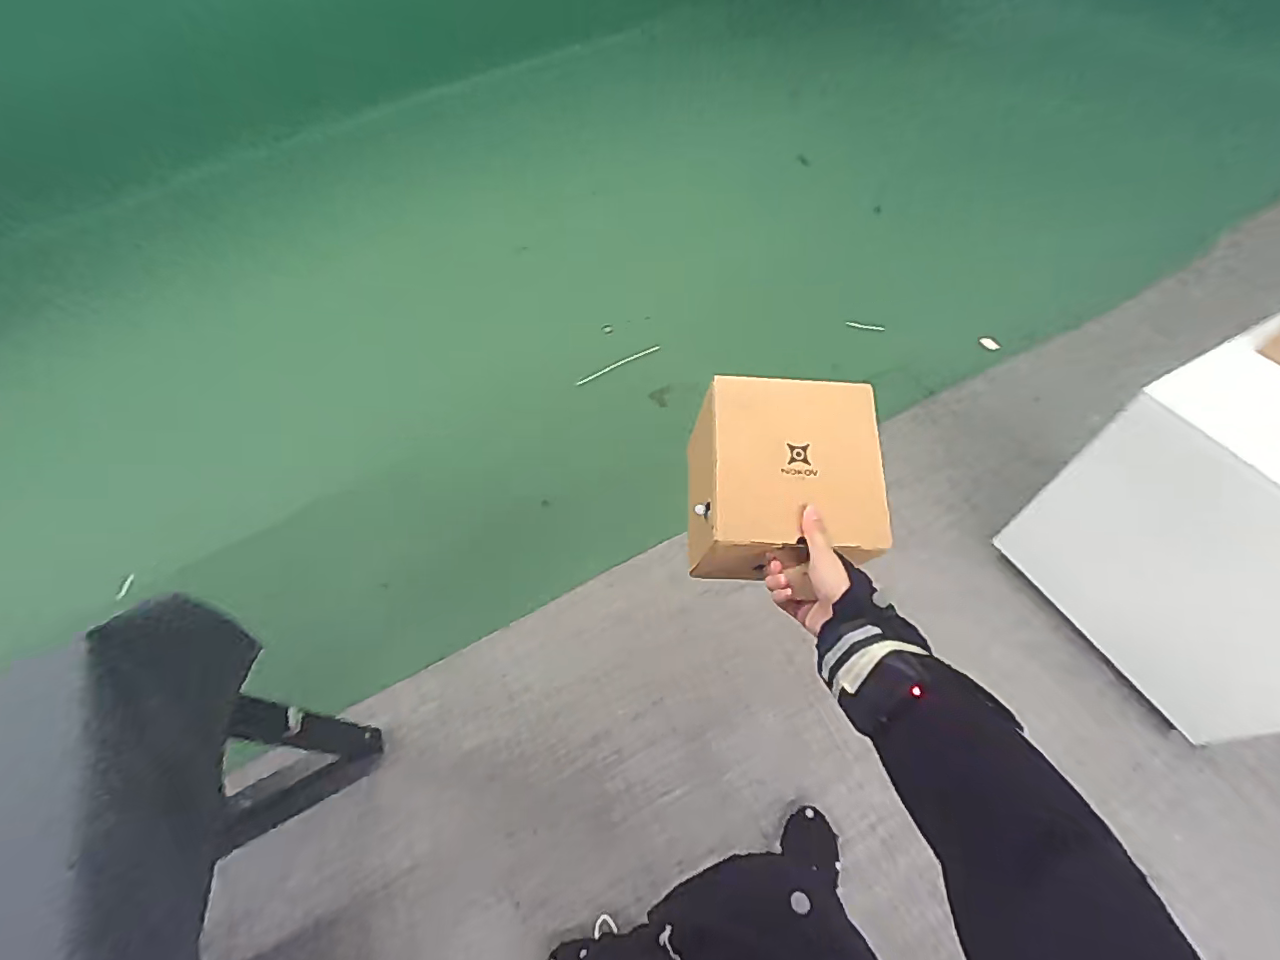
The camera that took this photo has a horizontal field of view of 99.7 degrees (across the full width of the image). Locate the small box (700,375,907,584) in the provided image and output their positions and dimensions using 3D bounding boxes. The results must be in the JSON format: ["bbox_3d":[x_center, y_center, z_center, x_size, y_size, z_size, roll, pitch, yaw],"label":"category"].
[{"bbox_3d":[0.160,0.008,0.593,0.168,0.176,0.179,4,70,-3],"label":"small box"}]
